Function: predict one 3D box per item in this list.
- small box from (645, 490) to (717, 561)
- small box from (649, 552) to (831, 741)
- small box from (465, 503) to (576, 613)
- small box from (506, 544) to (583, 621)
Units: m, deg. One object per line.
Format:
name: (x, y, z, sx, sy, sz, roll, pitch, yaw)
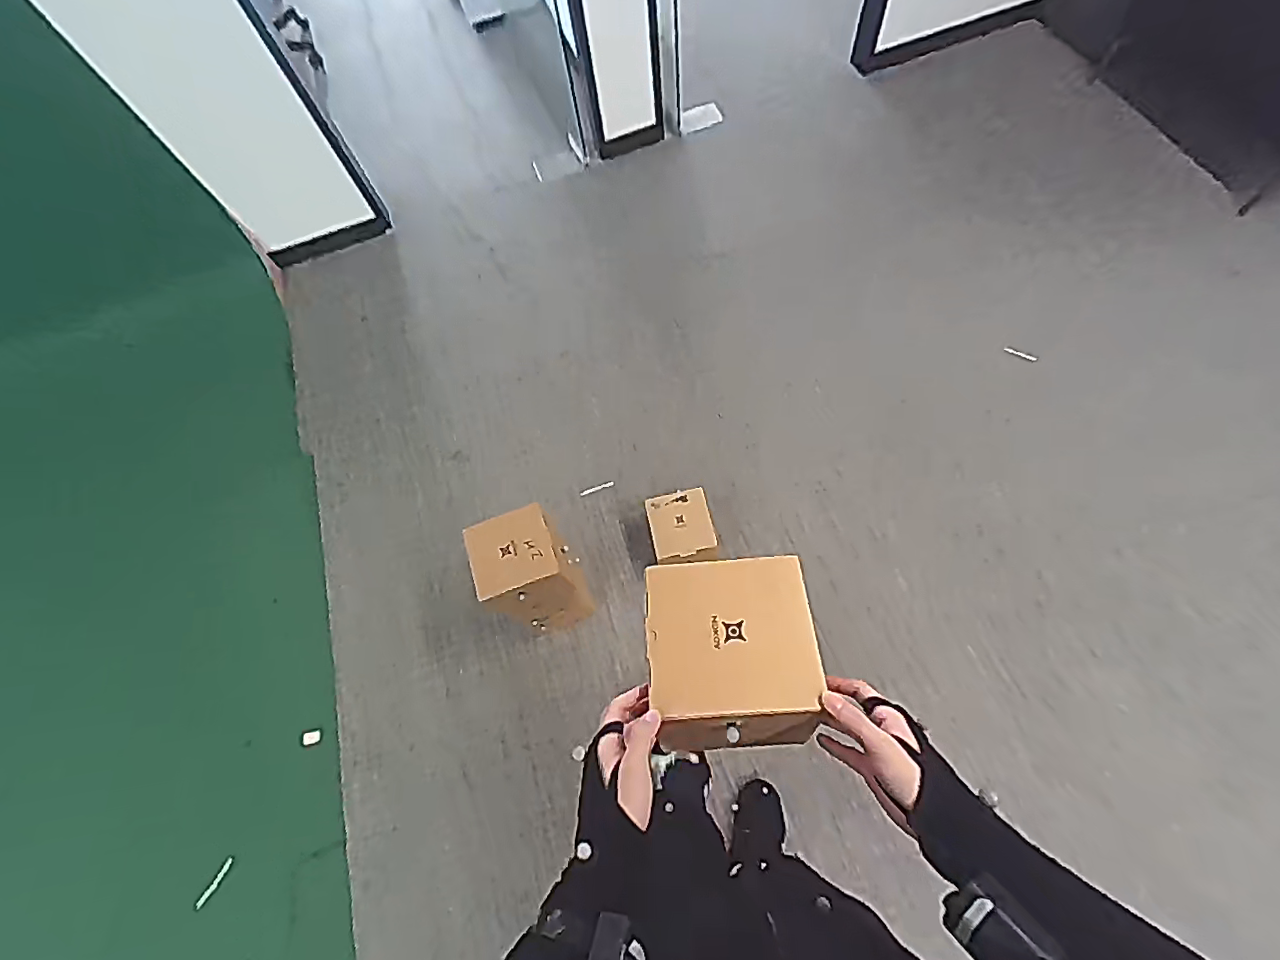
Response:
small box: (0.116, 0.151, 1.521, 0.168, 0.176, 0.179, -12, 66, 0)
small box: (0.106, 0.200, 0.635, 0.179, 0.176, 0.168, -6, 53, 5)
small box: (-0.258, 0.178, 1.187, 0.179, 0.176, 0.168, -20, 66, -4)
small box: (-0.252, 0.238, 1.341, 0.168, 0.176, 0.179, -21, 65, -4)
